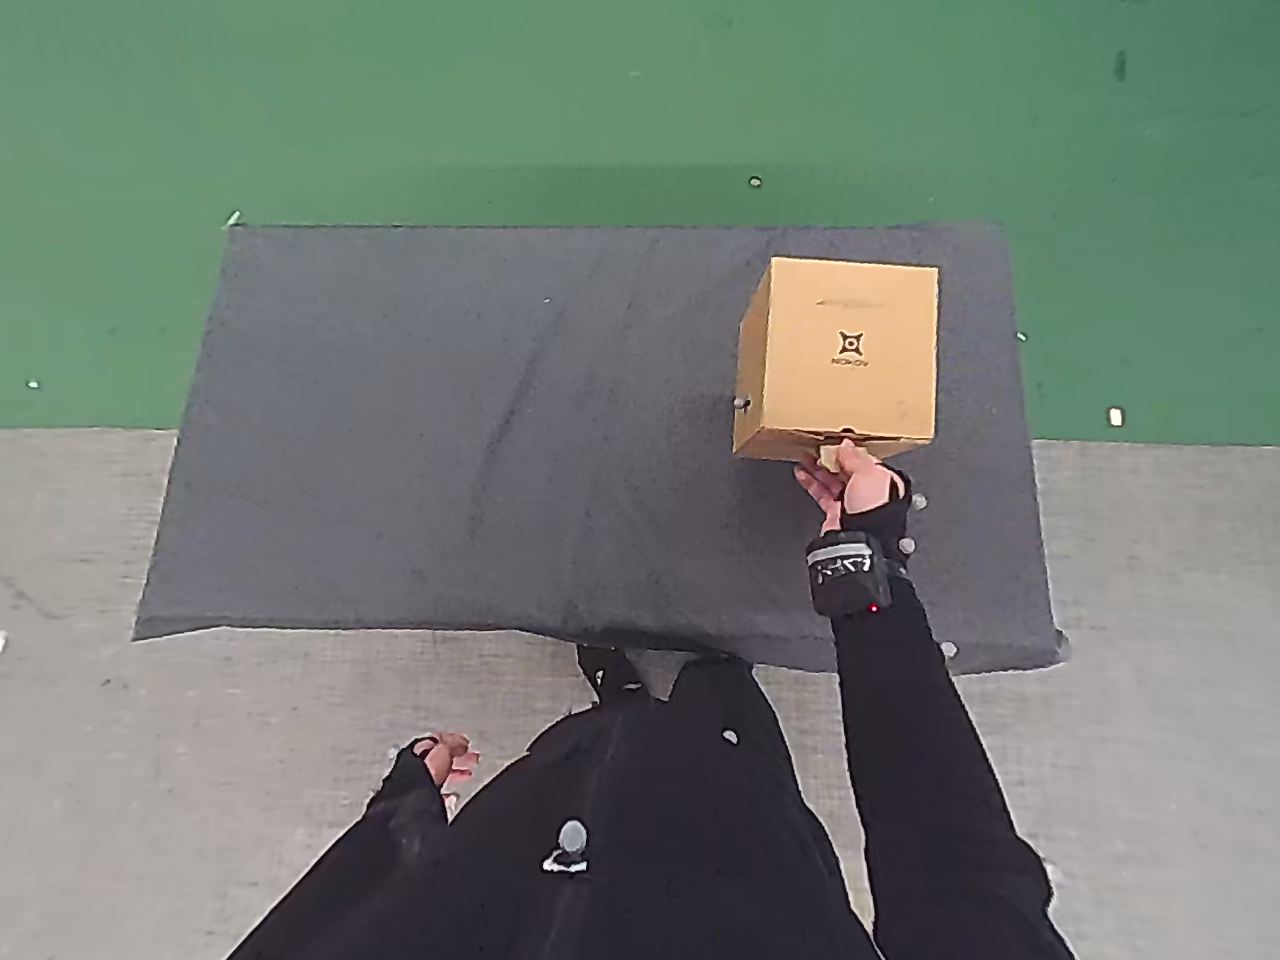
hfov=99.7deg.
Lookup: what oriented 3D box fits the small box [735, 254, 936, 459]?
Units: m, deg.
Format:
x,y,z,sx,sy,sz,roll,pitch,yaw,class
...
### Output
x,y,z,sx,sy,sz,roll,pitch,yaw,class
0.204,-0.123,0.605,0.168,0.176,0.179,4,83,0,small box
